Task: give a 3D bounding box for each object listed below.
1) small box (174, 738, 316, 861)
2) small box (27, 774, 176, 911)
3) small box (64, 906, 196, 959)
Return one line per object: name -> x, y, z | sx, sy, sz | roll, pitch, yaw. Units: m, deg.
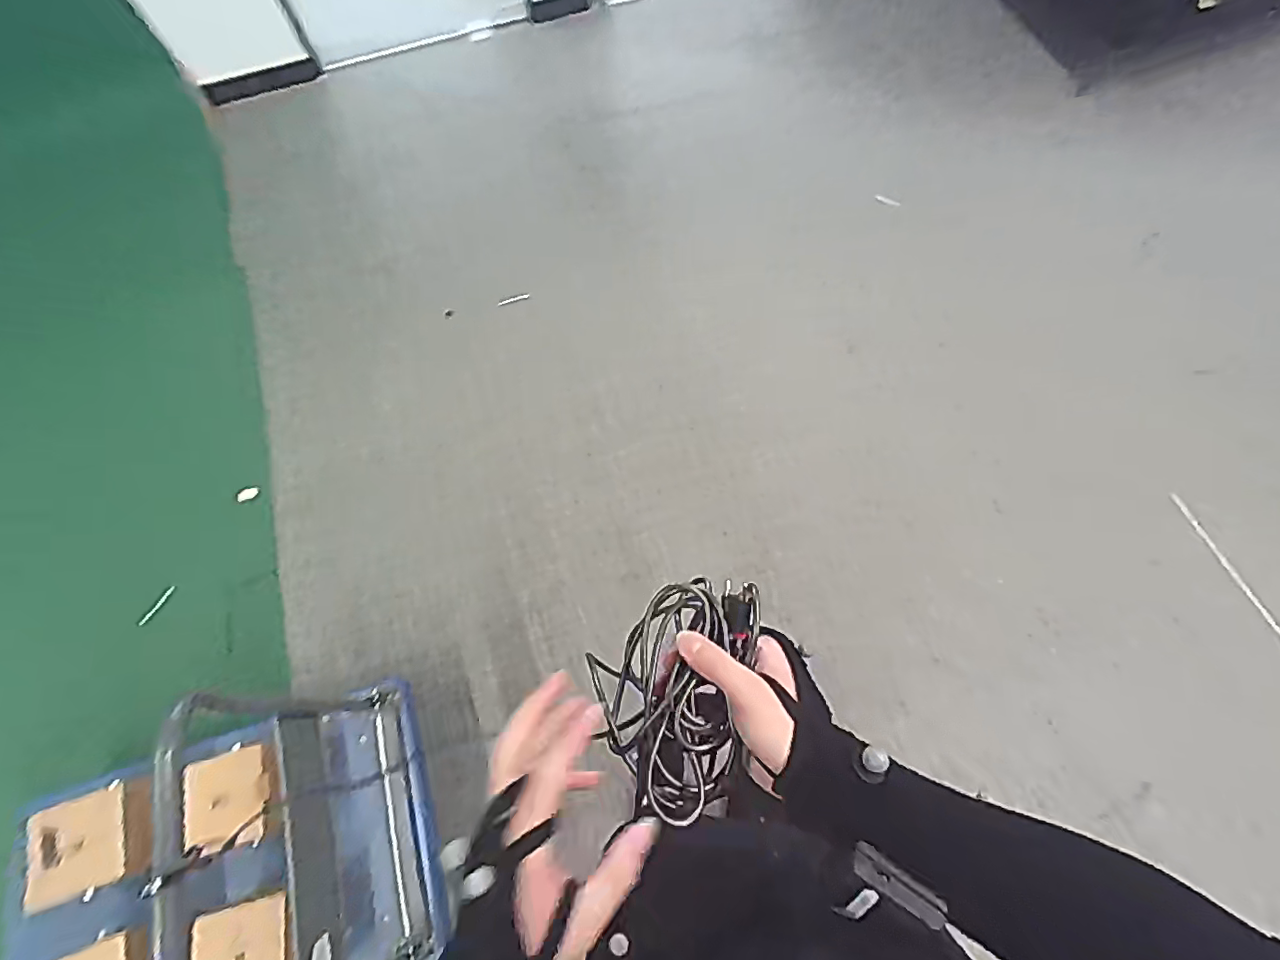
small box -> -0.811, 0.652, 1.122 | 0.179, 0.176, 0.168 | -16, 69, -5
small box -> -1.065, 0.723, 1.099 | 0.179, 0.176, 0.168 | -19, 71, -7
small box -> -0.974, 0.947, 1.011 | 0.179, 0.176, 0.168 | -21, 69, -7
